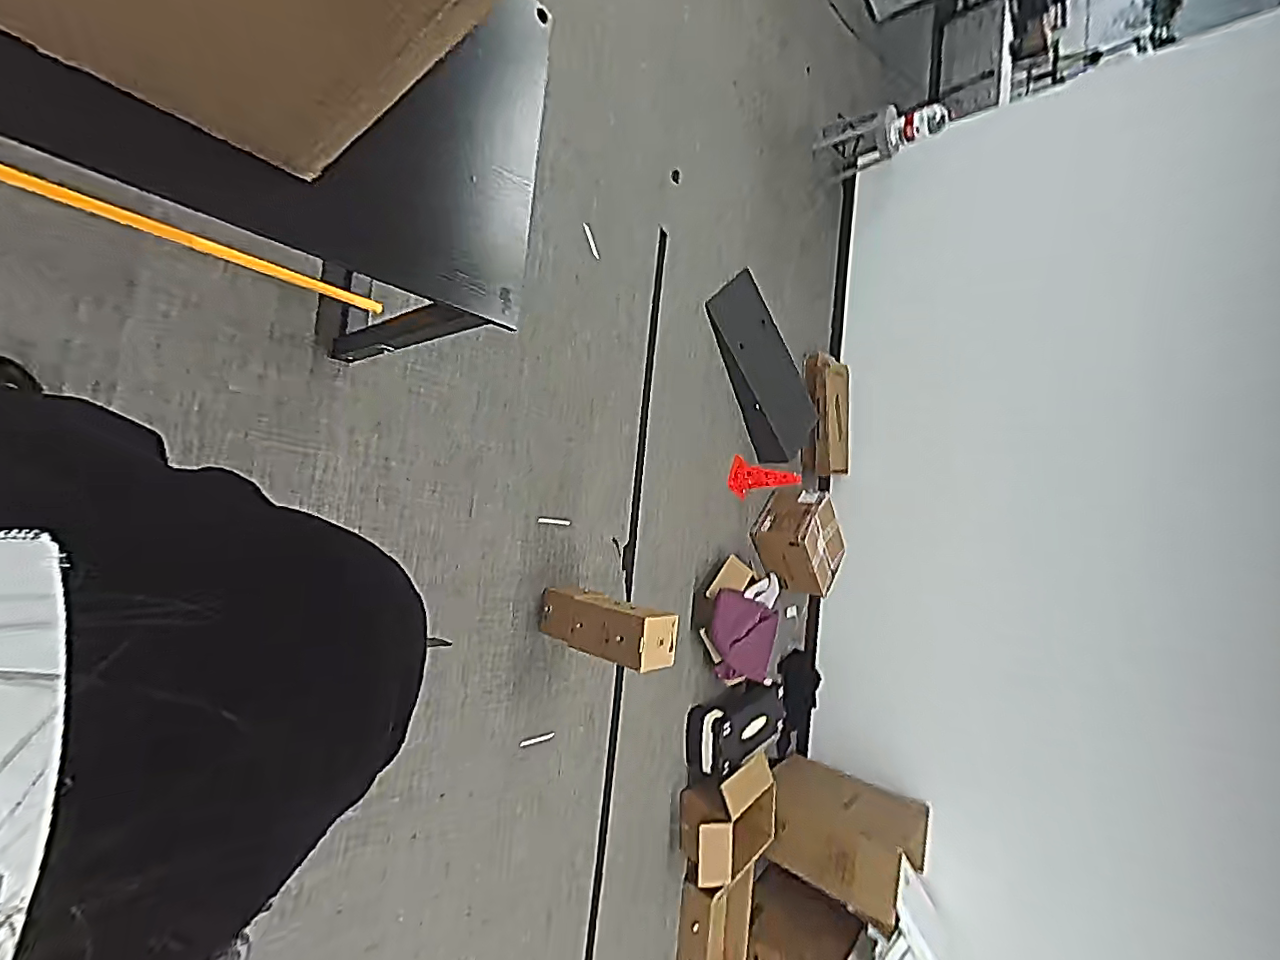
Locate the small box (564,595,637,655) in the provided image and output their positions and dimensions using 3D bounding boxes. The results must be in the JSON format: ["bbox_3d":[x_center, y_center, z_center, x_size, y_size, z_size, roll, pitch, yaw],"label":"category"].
[{"bbox_3d":[-0.134,0.493,1.863,0.179,0.176,0.168,12,83,-49],"label":"small box"}]

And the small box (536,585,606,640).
[{"bbox_3d":[-0.252,0.480,1.978,0.179,0.176,0.168,10,84,-48],"label":"small box"}]

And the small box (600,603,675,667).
[{"bbox_3d":[-0.011,0.499,1.755,0.179,0.176,0.168,12,83,-49],"label":"small box"}]
